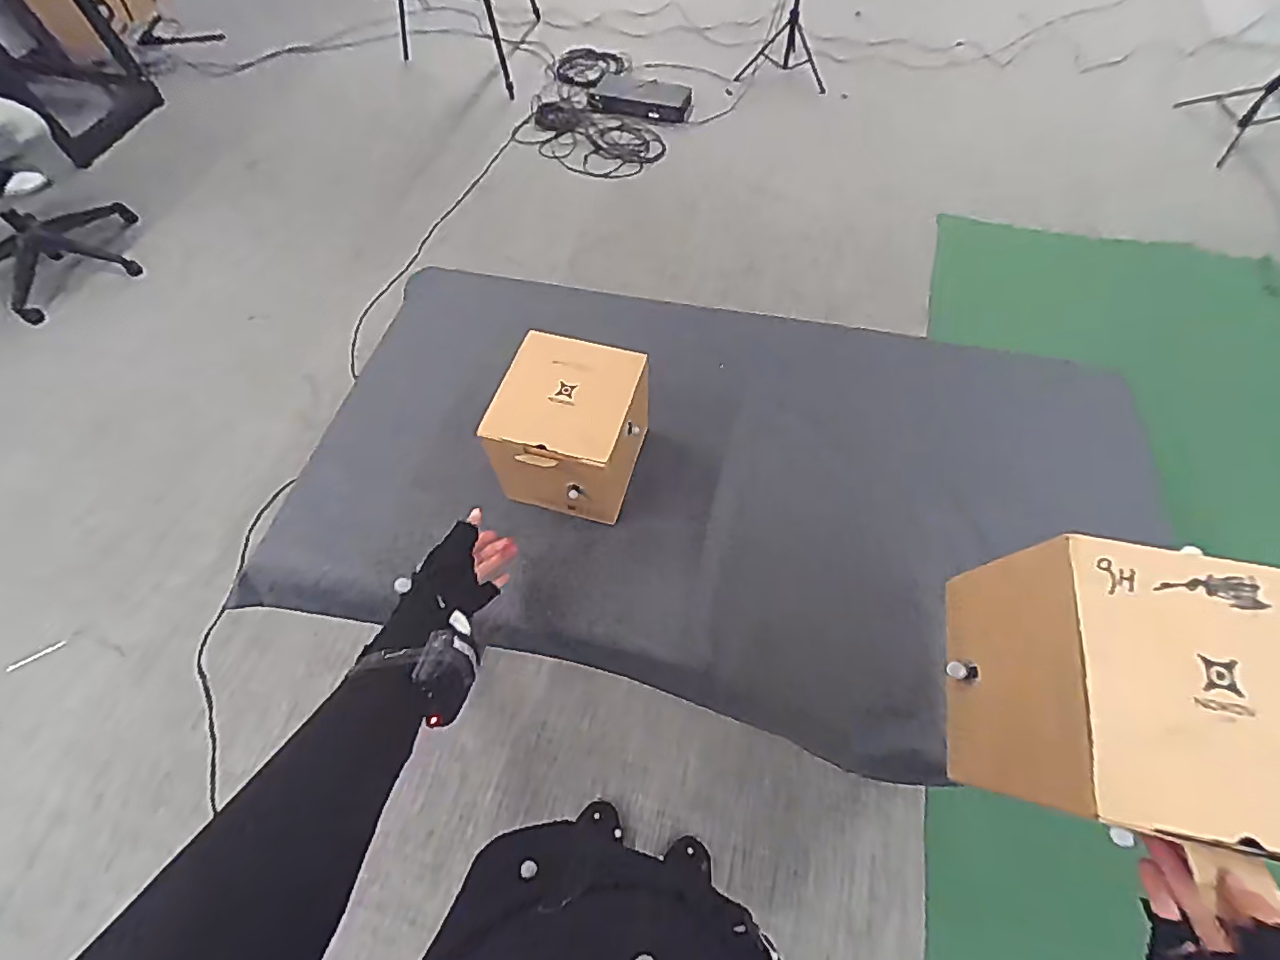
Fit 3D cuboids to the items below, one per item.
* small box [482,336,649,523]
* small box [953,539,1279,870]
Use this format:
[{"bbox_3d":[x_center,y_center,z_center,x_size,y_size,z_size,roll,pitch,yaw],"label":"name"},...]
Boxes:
[{"bbox_3d":[-0.086,-0.062,0.738,0.168,0.176,0.179,14,61,9],"label":"small box"},{"bbox_3d":[0.359,0.161,0.404,0.168,0.176,0.179,10,69,5],"label":"small box"}]
